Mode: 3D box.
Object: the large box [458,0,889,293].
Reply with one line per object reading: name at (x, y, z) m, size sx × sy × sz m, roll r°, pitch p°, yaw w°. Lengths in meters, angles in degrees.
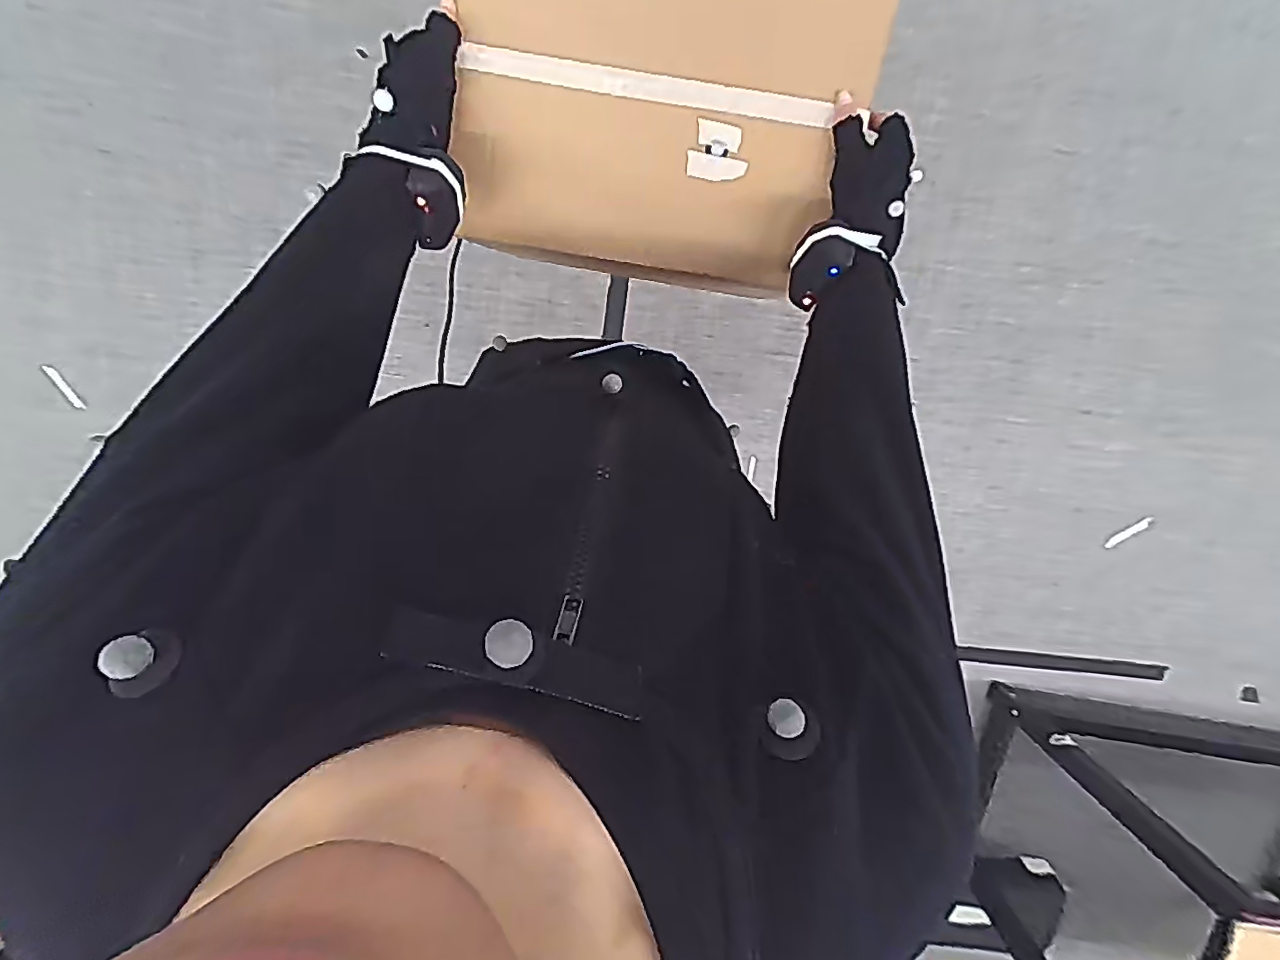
large box at (0.022, -0.423, 0.673) m, size 0.408 × 0.320 × 0.320 m, roll 8°, pitch 109°, yaw -2°
